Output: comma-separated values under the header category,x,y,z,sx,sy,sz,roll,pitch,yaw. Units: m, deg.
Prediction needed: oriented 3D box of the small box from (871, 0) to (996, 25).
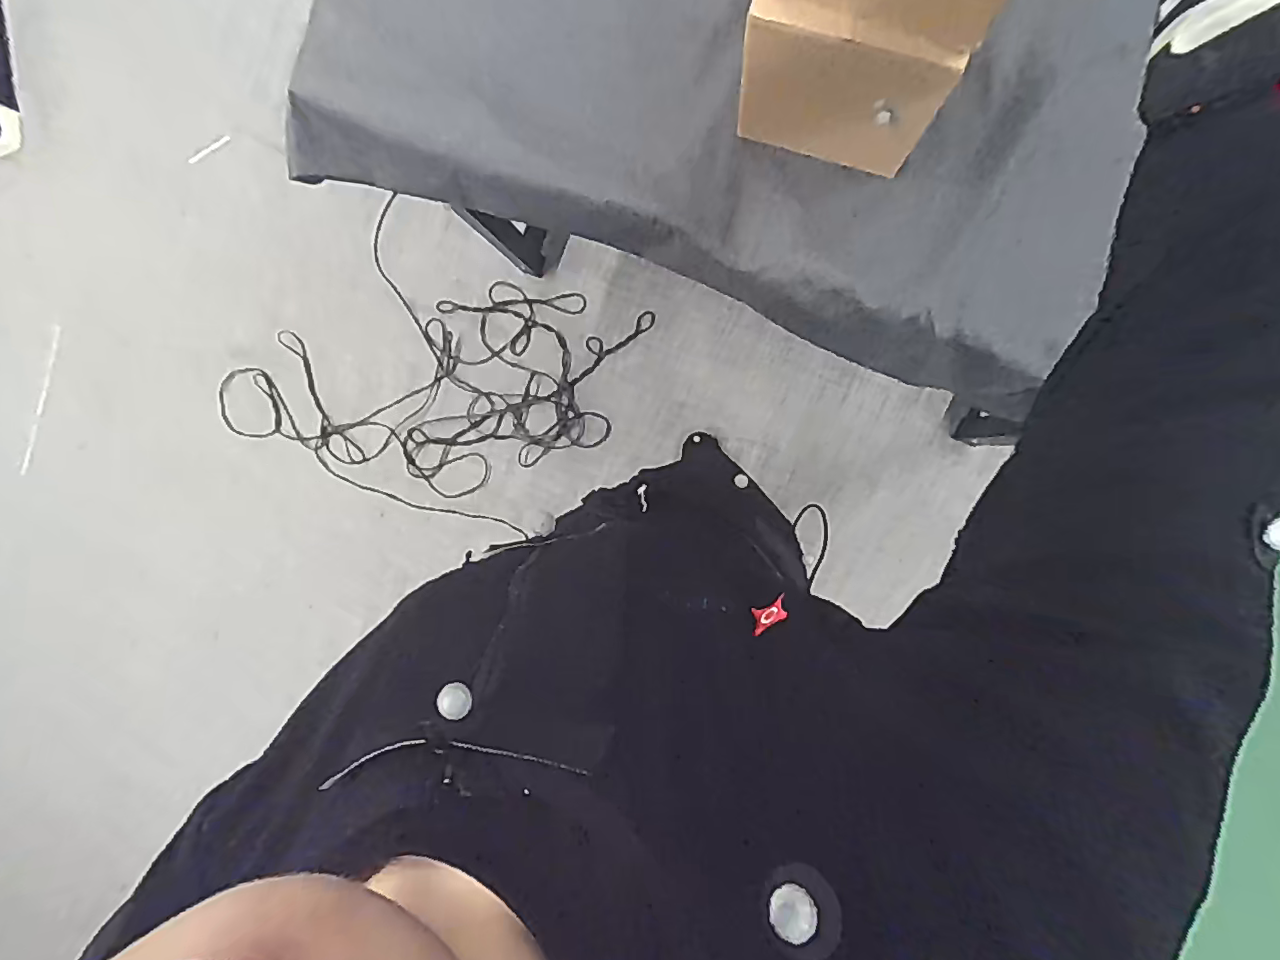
category,x,y,z,sx,sy,sz,roll,pitch,yaw
small box,0.193,-0.433,0.325,0.179,0.176,0.168,22,96,5
